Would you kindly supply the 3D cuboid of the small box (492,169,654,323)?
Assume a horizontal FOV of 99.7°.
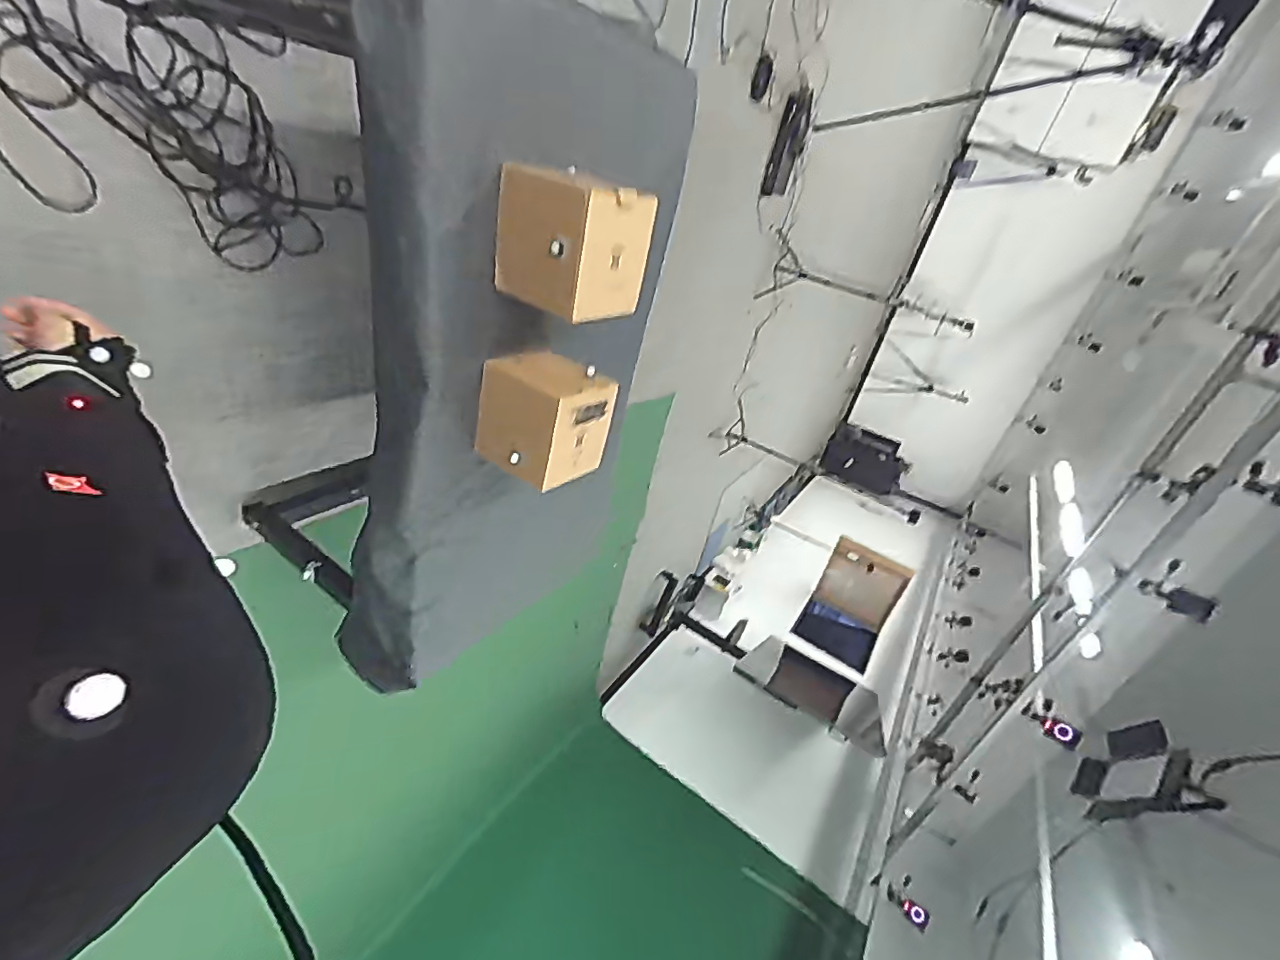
[{"bbox_3d":[-0.106,-0.358,0.828,0.168,0.176,0.179,-30,142,-51],"label":"small box"}]
